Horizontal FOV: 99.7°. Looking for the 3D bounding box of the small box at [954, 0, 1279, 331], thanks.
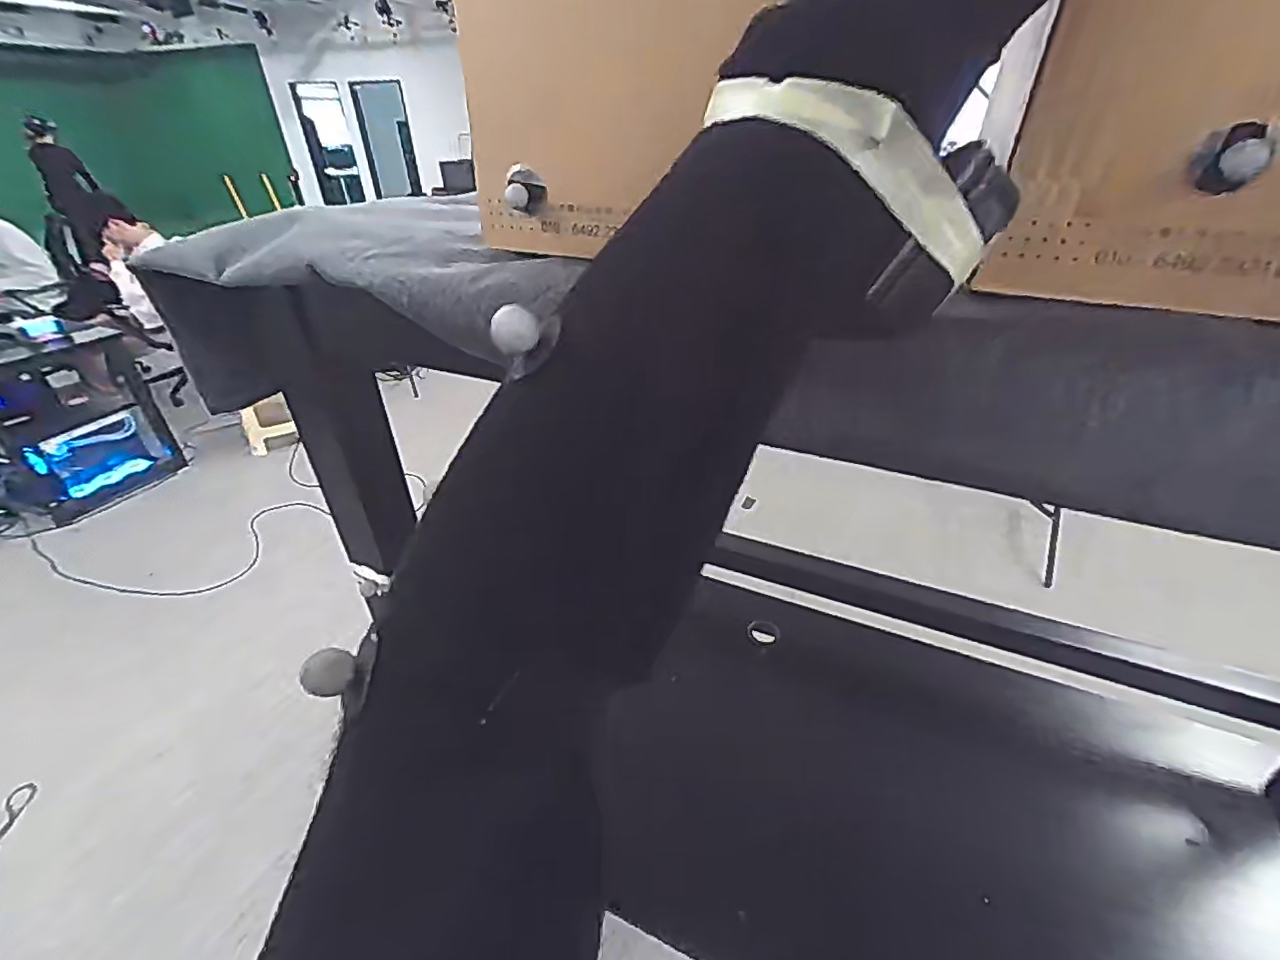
[{"bbox_3d":[0.255,-0.173,0.237,0.168,0.176,0.179,13,34,20],"label":"small box"}]
